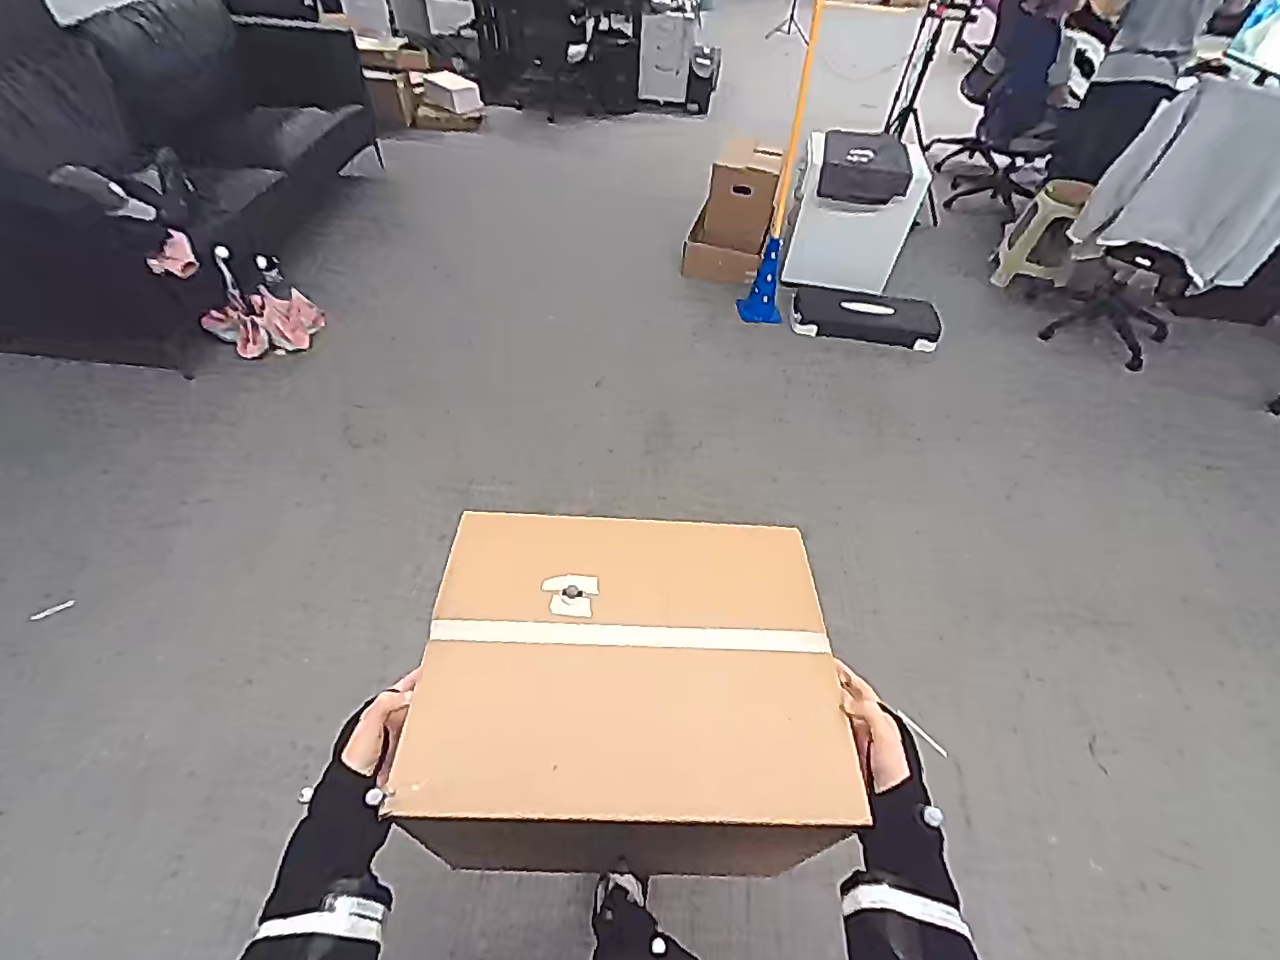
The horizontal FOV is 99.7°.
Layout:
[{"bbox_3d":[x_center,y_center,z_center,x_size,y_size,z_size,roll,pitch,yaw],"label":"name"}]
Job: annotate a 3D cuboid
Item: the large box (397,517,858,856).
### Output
[{"bbox_3d":[-0.014,0.263,0.669,0.408,0.320,0.320,3,47,-2],"label":"large box"}]
